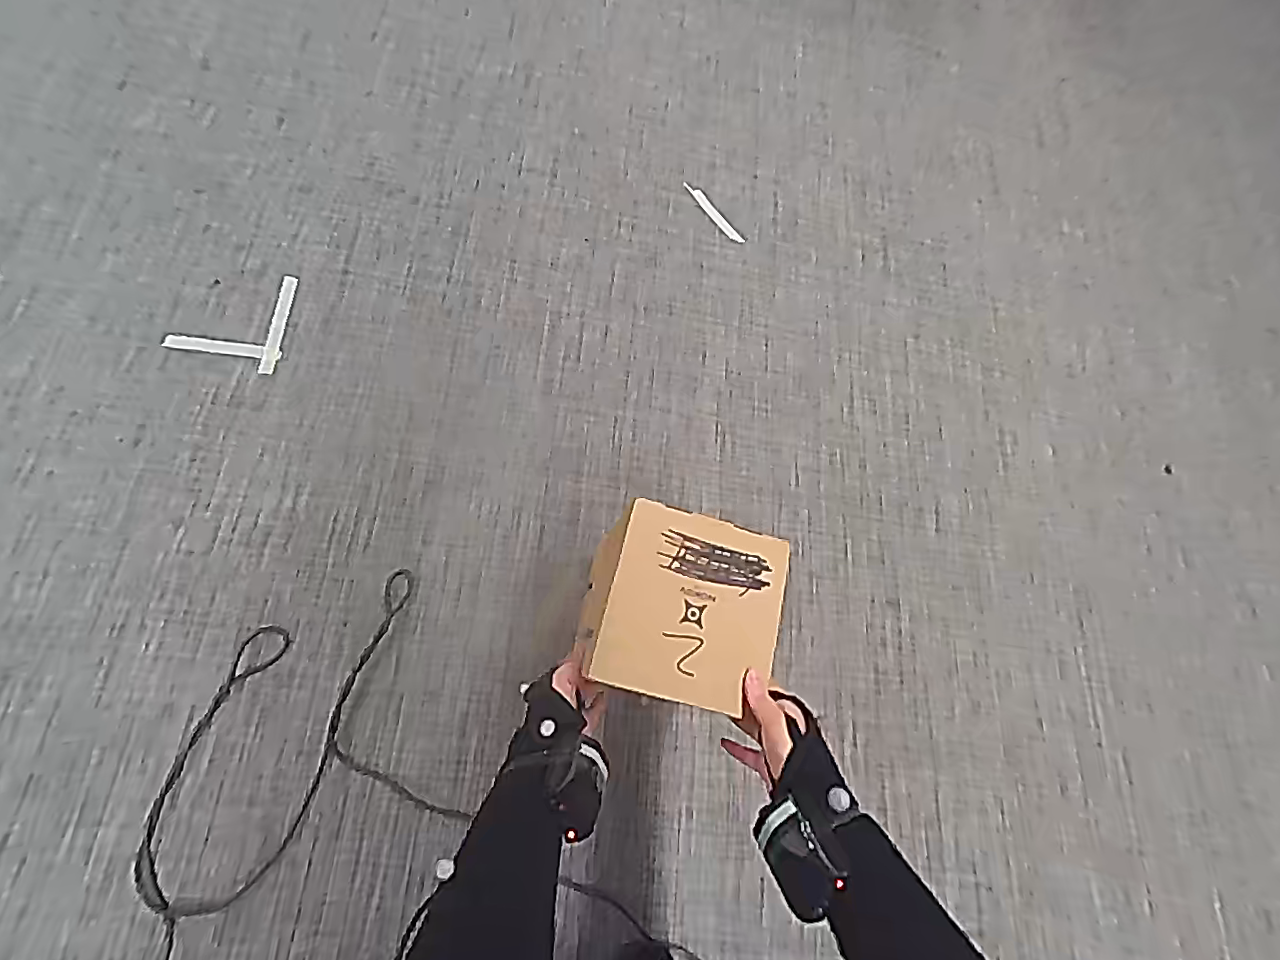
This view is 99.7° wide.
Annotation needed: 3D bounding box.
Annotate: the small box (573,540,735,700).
[{"bbox_3d":[0.011,0.193,0.734,0.179,0.176,0.168,13,71,-6],"label":"small box"}]
